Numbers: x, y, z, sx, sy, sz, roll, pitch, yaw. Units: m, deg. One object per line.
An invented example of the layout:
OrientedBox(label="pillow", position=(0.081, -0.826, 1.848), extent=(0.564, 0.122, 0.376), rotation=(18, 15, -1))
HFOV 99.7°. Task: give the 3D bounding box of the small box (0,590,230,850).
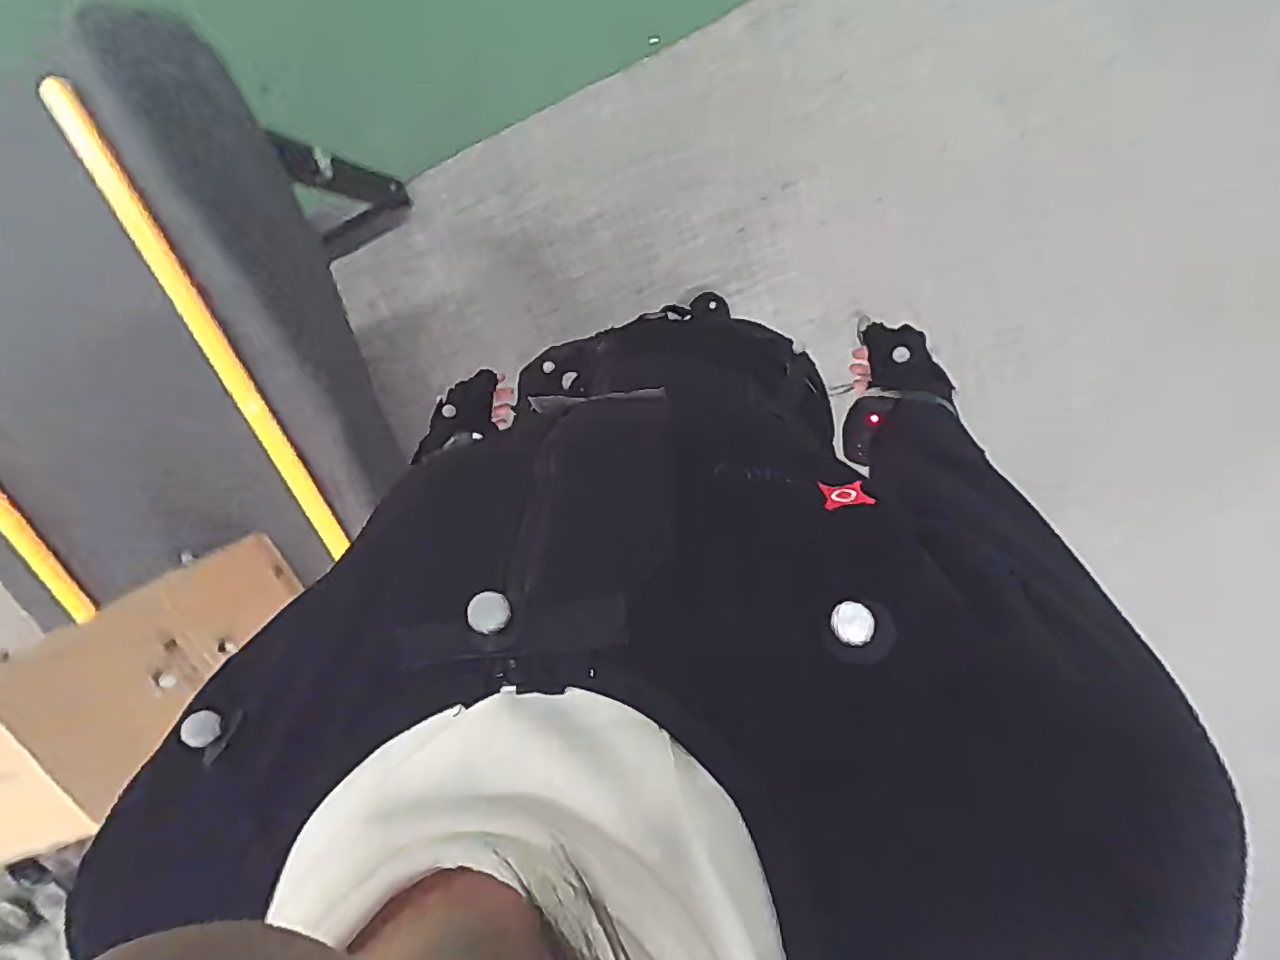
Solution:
OrientedBox(label="small box", position=(-0.600, 0.244, 0.570), extent=(0.179, 0.176, 0.168), rotation=(-21, 106, 11))

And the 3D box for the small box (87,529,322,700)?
OrientedBox(label="small box", position=(-0.581, 0.191, 0.725), extent=(0.179, 0.176, 0.168), rotation=(-22, 106, 13))
